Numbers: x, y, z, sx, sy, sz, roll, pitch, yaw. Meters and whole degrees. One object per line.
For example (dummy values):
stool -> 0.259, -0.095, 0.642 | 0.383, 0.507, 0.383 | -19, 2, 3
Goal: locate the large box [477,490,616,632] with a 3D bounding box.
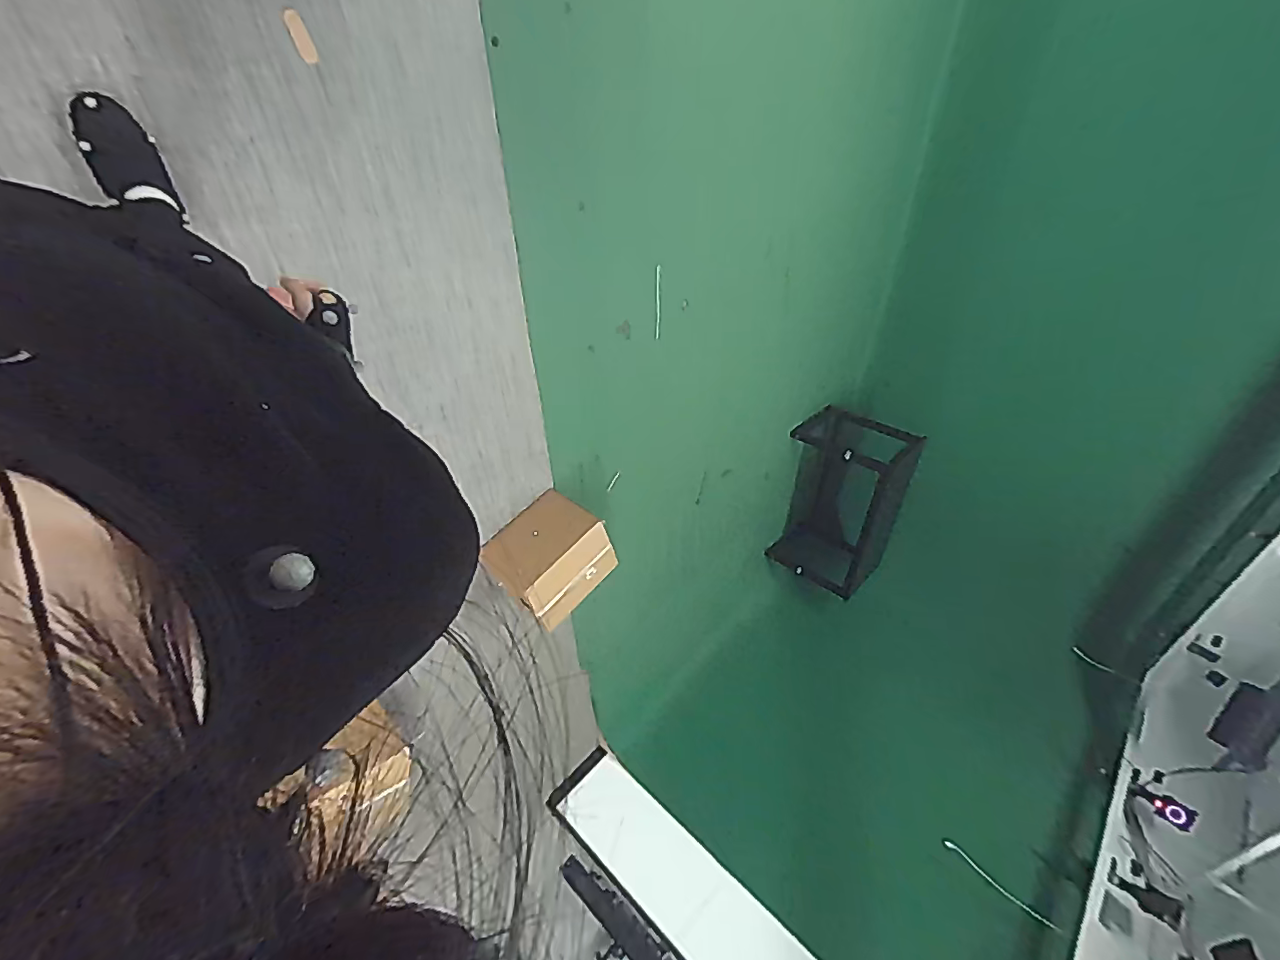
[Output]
large box -> -0.369, 0.319, 2.186 | 0.408, 0.320, 0.320 | -45, 143, -25

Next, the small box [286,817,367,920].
small box -> -0.940, 1.165, 1.619 | 0.168, 0.176, 0.179 | -15, 126, -47

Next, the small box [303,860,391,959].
small box -> -0.830, 1.235, 1.523 | 0.179, 0.176, 0.168 | -13, 125, -48
